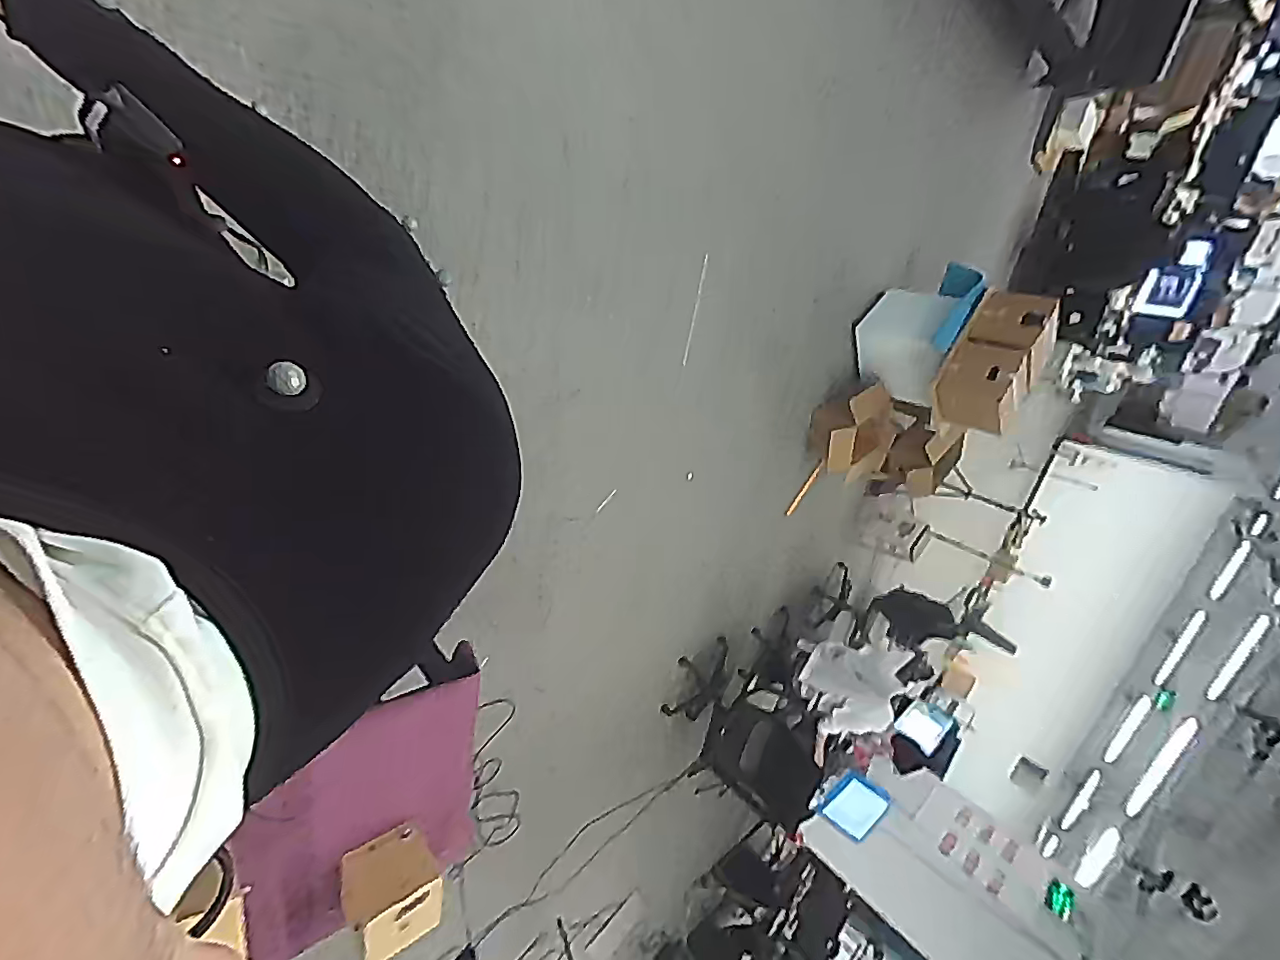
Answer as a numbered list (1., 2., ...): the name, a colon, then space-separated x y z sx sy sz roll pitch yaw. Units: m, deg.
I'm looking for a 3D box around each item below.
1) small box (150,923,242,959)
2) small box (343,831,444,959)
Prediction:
1. small box: -0.823 0.976 0.983 0.168 0.176 0.179 -8 116 -44
2. small box: -0.562 0.942 1.227 0.168 0.176 0.179 -9 118 -42
